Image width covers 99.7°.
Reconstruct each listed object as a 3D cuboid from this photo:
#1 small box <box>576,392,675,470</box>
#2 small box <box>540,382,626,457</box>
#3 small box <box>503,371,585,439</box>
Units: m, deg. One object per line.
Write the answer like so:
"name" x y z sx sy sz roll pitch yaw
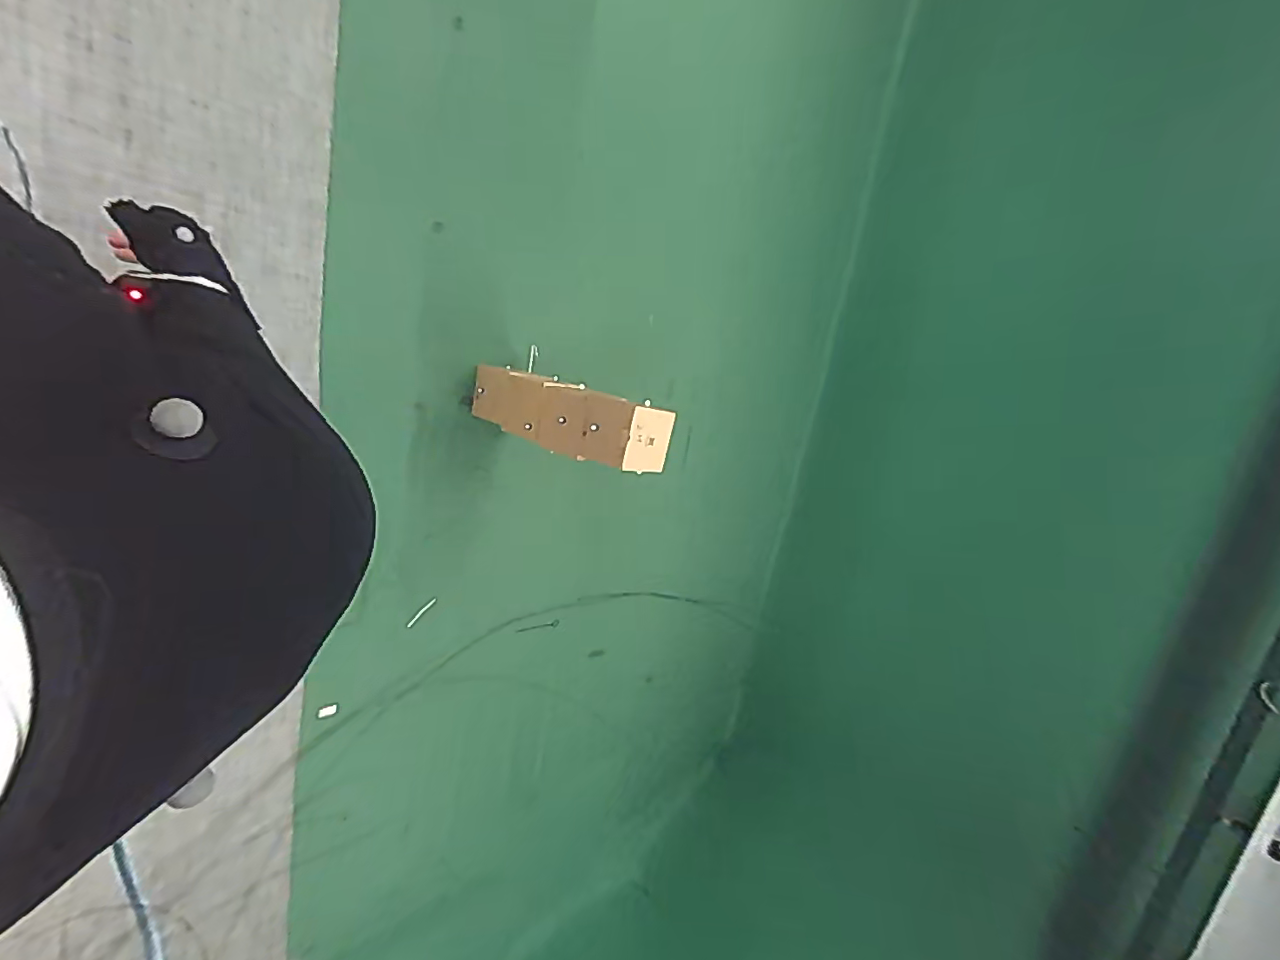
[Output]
"small box" -0.039 -0.131 1.430 0.179 0.176 0.168 2 105 -51
"small box" -0.165 -0.171 1.530 0.168 0.176 0.179 -6 111 -50
"small box" -0.291 -0.225 1.620 0.168 0.176 0.179 -4 110 -50
